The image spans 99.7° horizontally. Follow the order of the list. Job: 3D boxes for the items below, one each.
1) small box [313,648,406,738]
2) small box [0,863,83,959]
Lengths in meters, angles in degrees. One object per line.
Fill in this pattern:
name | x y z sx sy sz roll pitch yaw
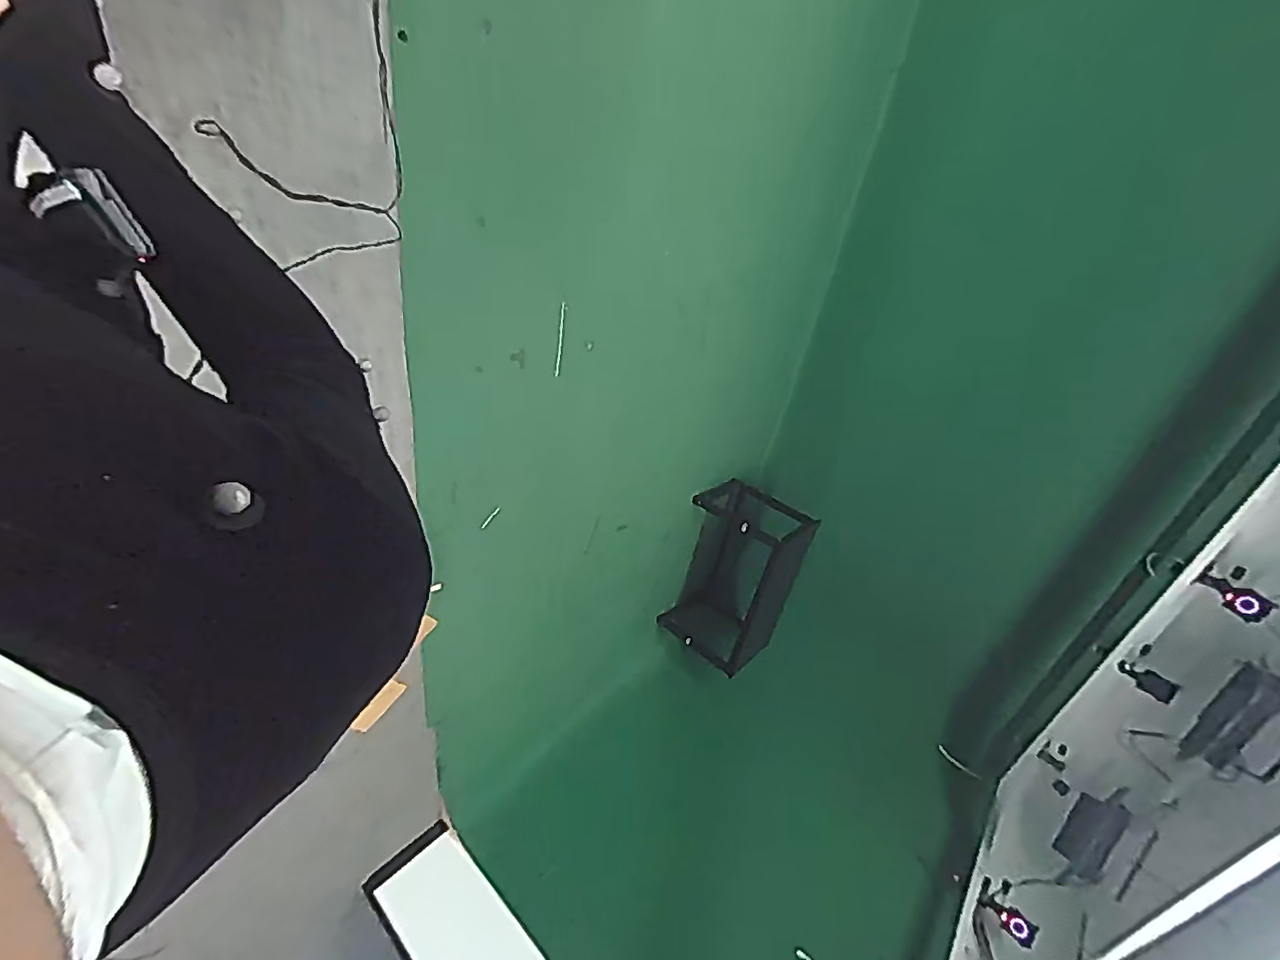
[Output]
small box | -0.879 0.662 1.682 0.179 0.176 0.168 -49 147 -18
small box | -1.403 1.021 1.226 0.168 0.176 0.179 -12 123 -51
